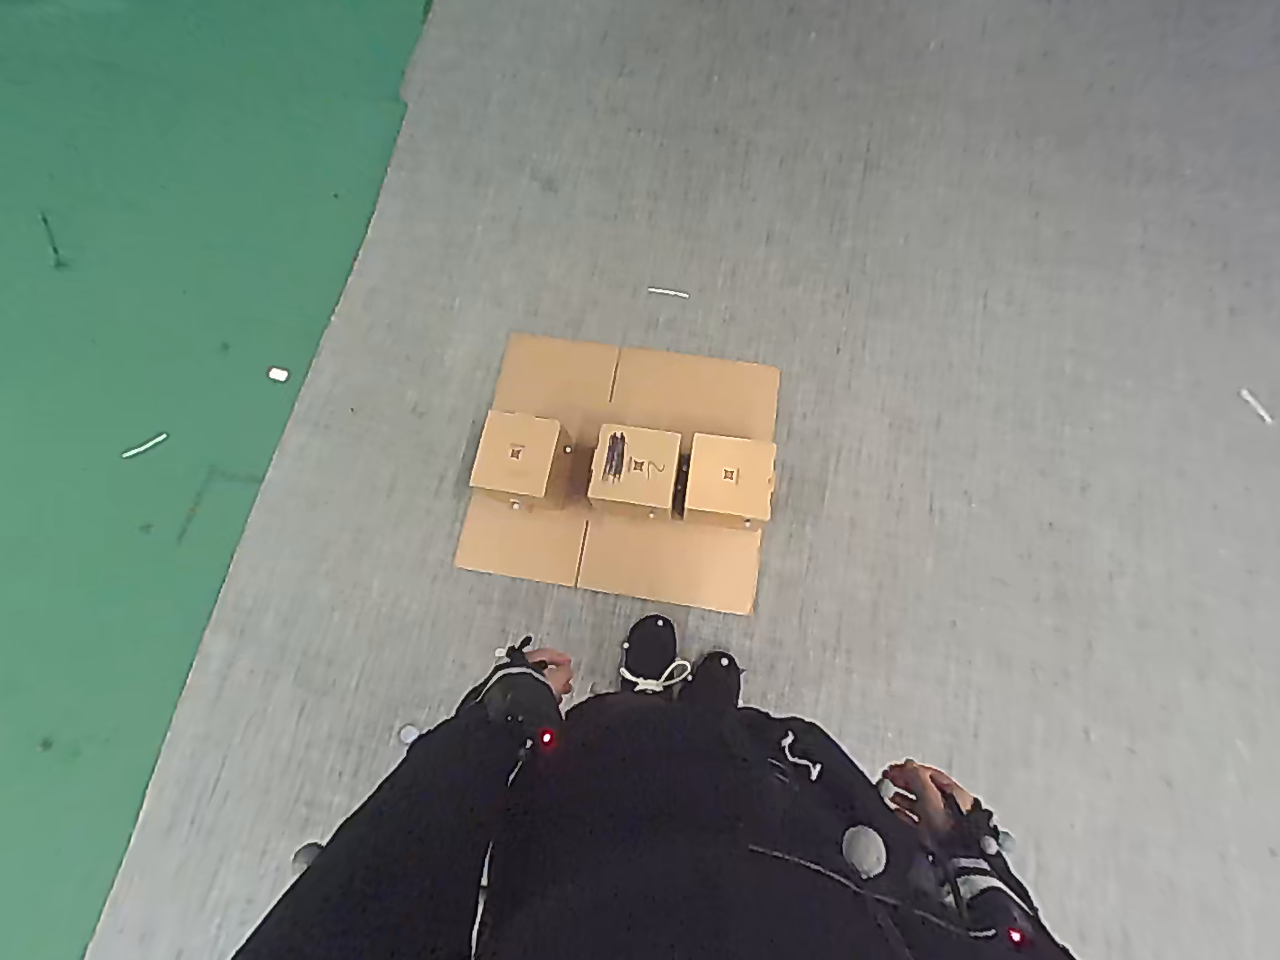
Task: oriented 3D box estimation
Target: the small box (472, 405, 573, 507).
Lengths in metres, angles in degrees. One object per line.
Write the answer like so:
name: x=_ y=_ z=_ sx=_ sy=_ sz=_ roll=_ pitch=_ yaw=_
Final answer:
small box: x=-0.254 y=-0.048 z=1.221 sx=0.168 sy=0.176 sz=0.179 roll=9 pitch=78 yaw=6
